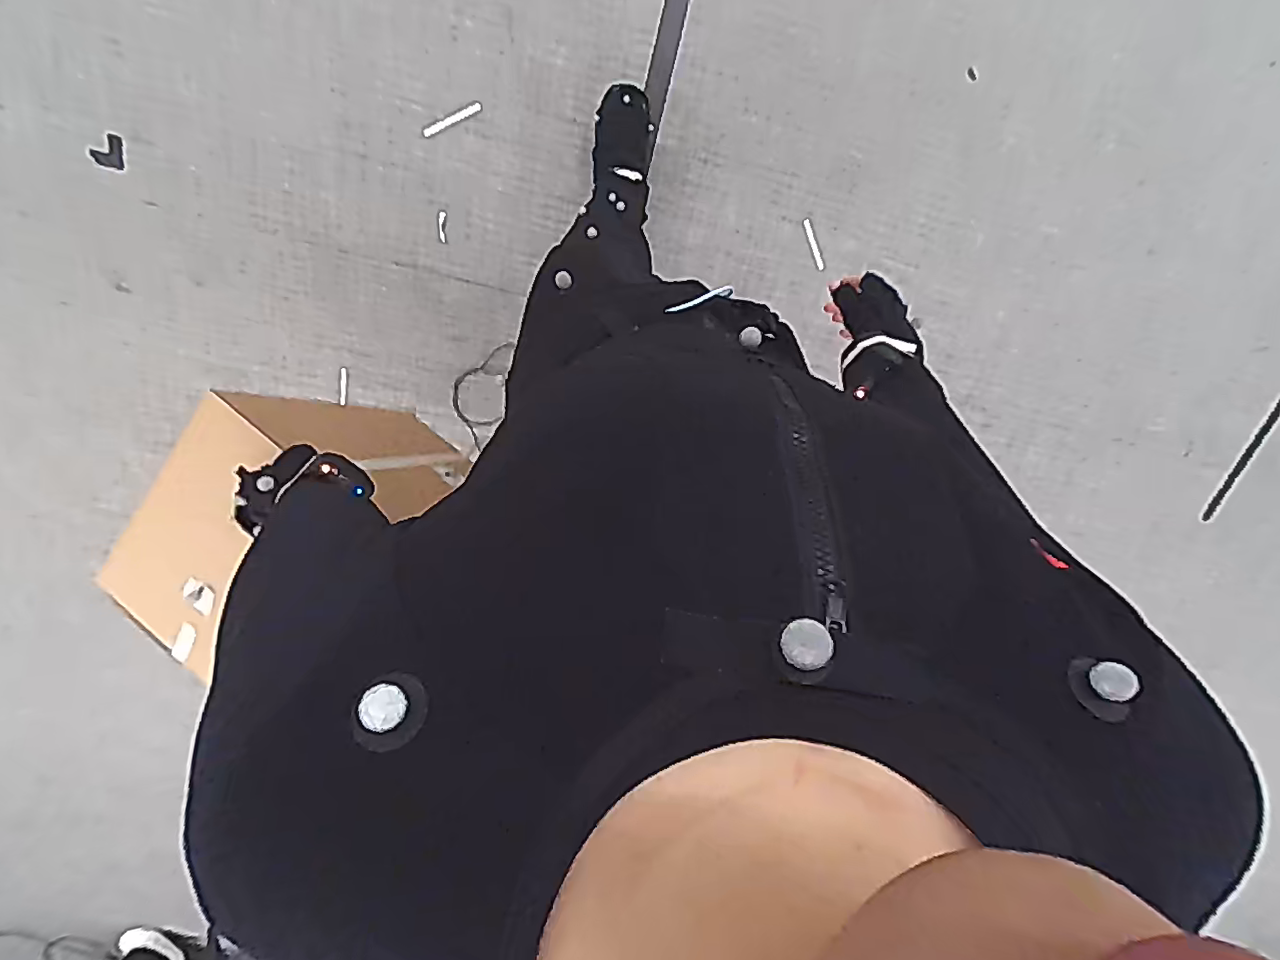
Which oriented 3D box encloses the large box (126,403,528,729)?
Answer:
[{"bbox_3d":[-0.449,0.105,0.872,0.320,0.408,0.320,39,97,6],"label":"large box"}]
